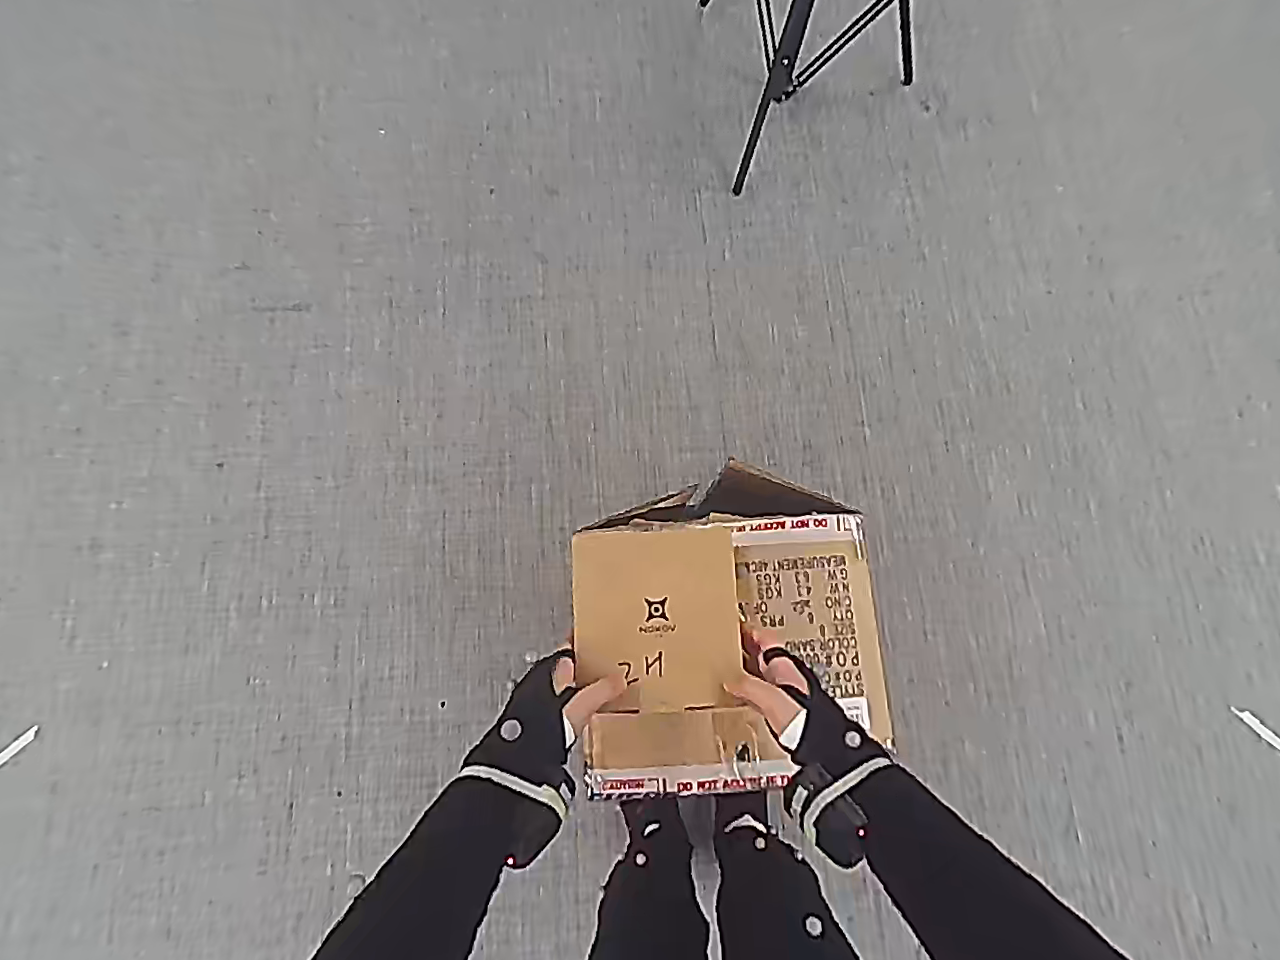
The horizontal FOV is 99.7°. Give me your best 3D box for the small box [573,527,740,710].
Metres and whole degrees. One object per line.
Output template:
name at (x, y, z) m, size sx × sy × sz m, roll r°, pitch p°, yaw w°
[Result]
small box at (0.015, 0.151, 0.622) m, size 0.168 × 0.176 × 0.179 m, roll -3°, pitch 80°, yaw 1°
